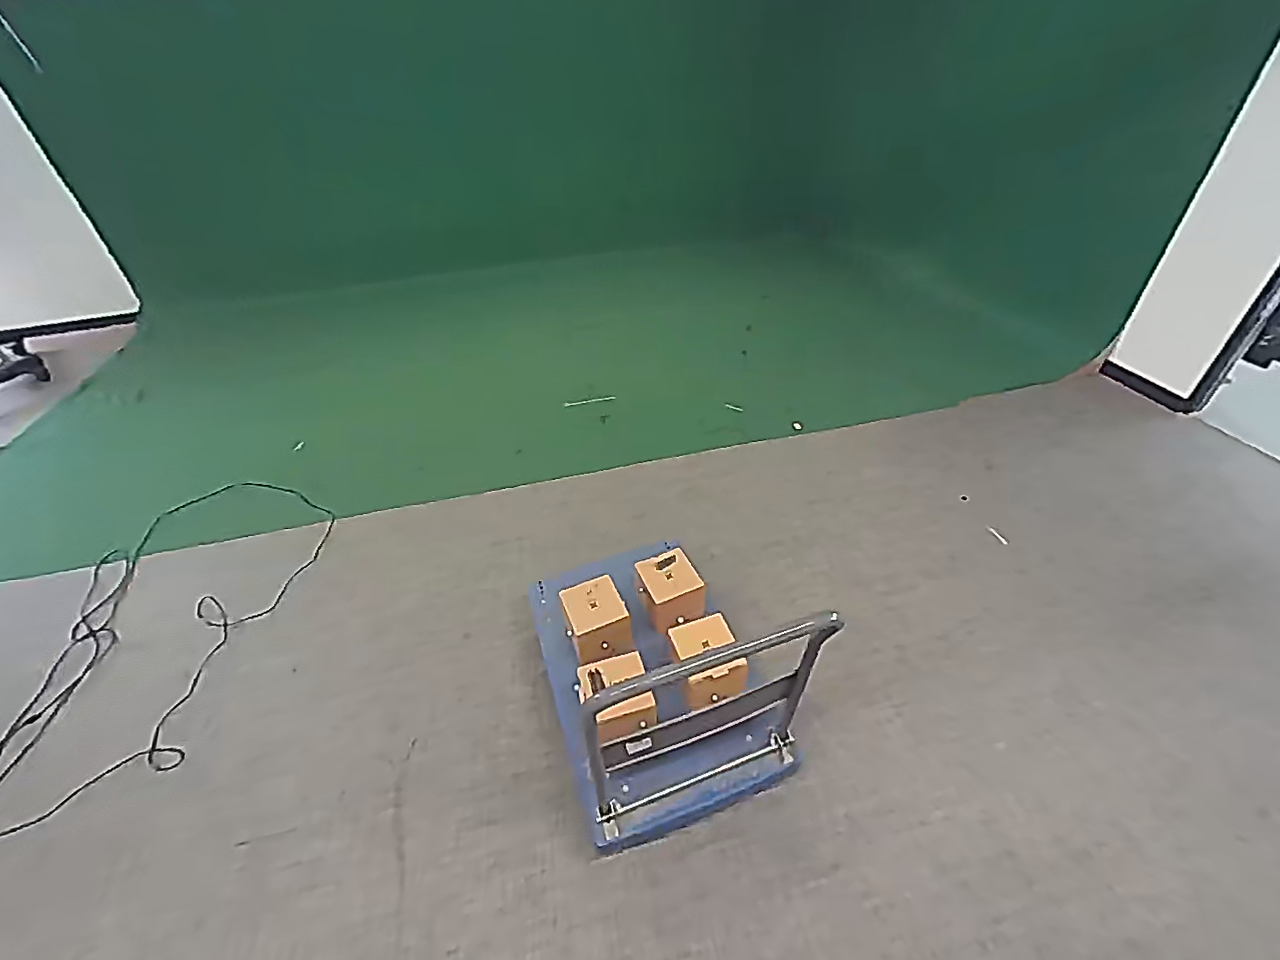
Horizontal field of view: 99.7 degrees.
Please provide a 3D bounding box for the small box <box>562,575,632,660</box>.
[{"bbox_3d":[-0.132,0.434,1.683,0.168,0.176,0.179,-17,42,-16],"label":"small box"}]

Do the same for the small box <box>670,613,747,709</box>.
[{"bbox_3d":[0.191,0.521,1.556,0.168,0.176,0.179,-15,42,-13],"label":"small box"}]

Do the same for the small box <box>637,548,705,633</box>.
[{"bbox_3d":[0.098,0.359,1.752,0.168,0.176,0.179,-18,43,-15],"label":"small box"}]
